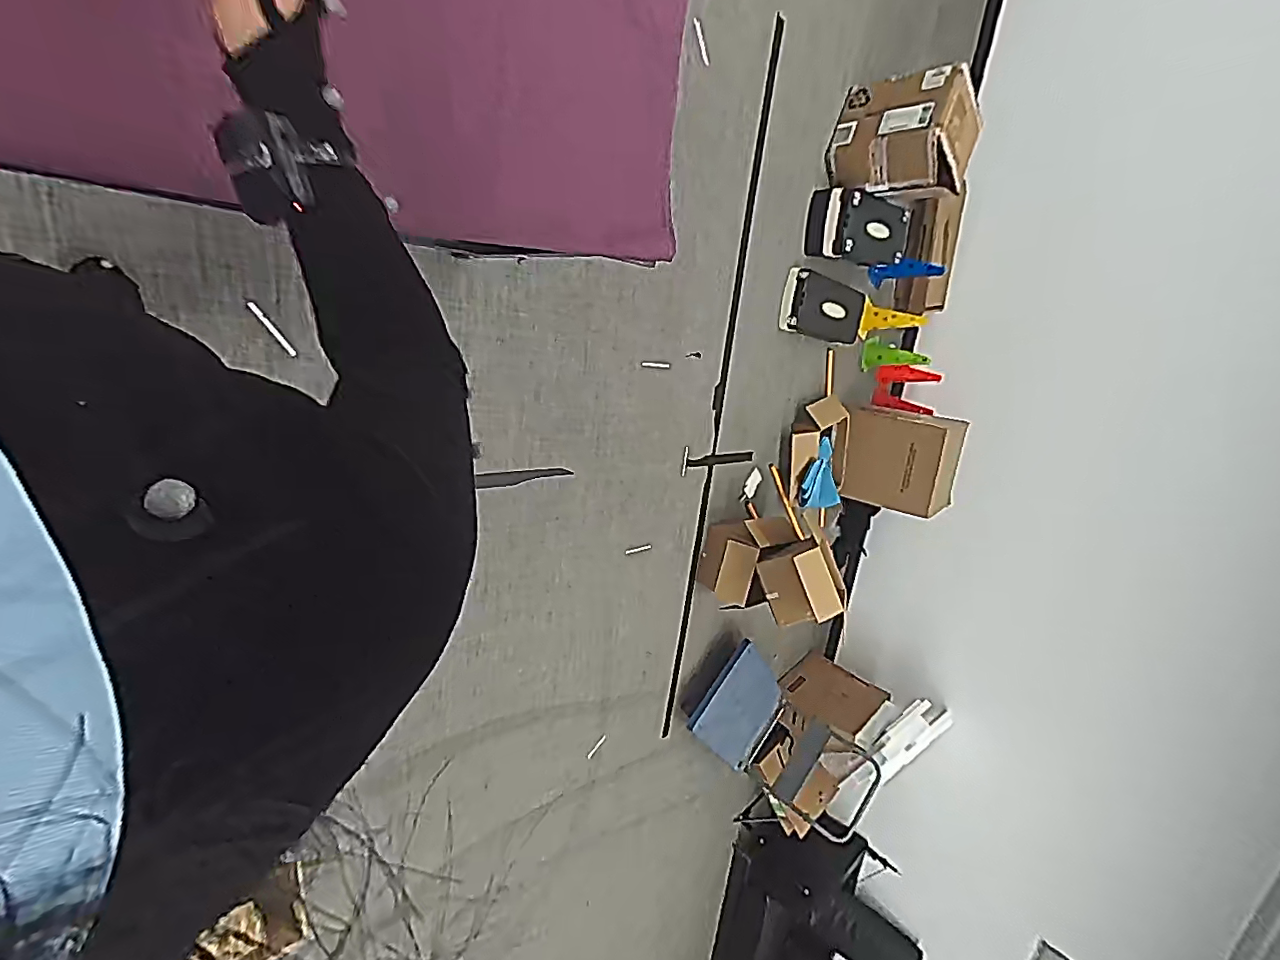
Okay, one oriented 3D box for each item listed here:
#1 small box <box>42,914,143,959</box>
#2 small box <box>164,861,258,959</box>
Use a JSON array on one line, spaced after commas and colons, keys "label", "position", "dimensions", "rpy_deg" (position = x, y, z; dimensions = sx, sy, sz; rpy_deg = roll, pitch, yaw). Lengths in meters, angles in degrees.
[{"label": "small box", "position": [-1.270, 1.181, 1.258], "dimensions": [0.168, 0.176, 0.179], "rpy_deg": [-2, 107, -46]}, {"label": "small box", "position": [-1.112, 1.138, 1.400], "dimensions": [0.168, 0.176, 0.179], "rpy_deg": [-10, 113, -41]}]
